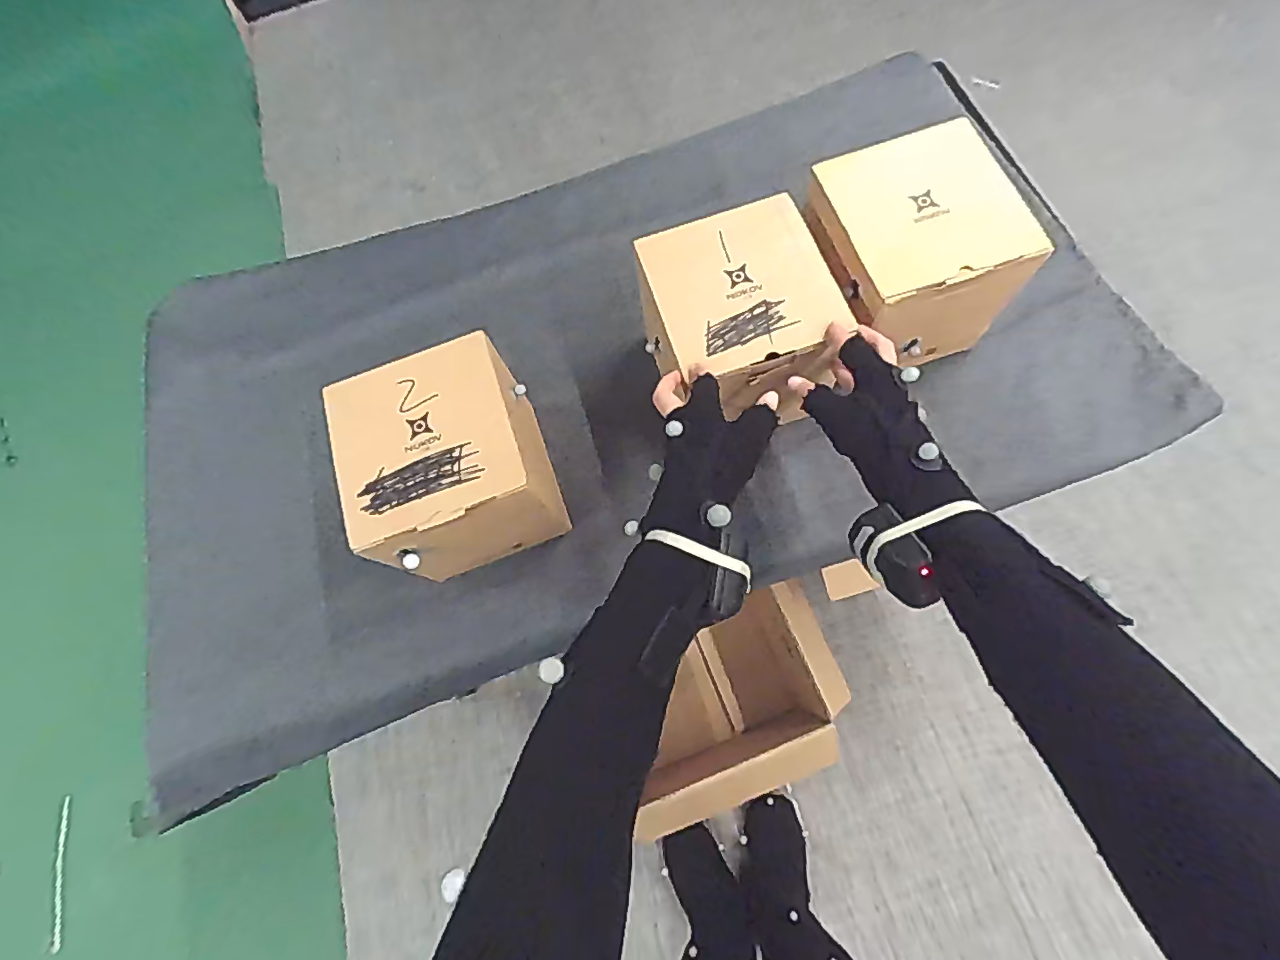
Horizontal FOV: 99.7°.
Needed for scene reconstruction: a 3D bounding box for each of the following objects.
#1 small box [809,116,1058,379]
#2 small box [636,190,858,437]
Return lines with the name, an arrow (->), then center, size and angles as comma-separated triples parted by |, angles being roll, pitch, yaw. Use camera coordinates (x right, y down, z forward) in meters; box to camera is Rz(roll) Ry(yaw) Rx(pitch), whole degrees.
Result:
small box -> 0.285, -0.240, 0.590 | 0.168, 0.176, 0.179 | -18, 72, 1
small box -> 0.104, -0.162, 0.584 | 0.168, 0.176, 0.179 | -17, 70, 0
